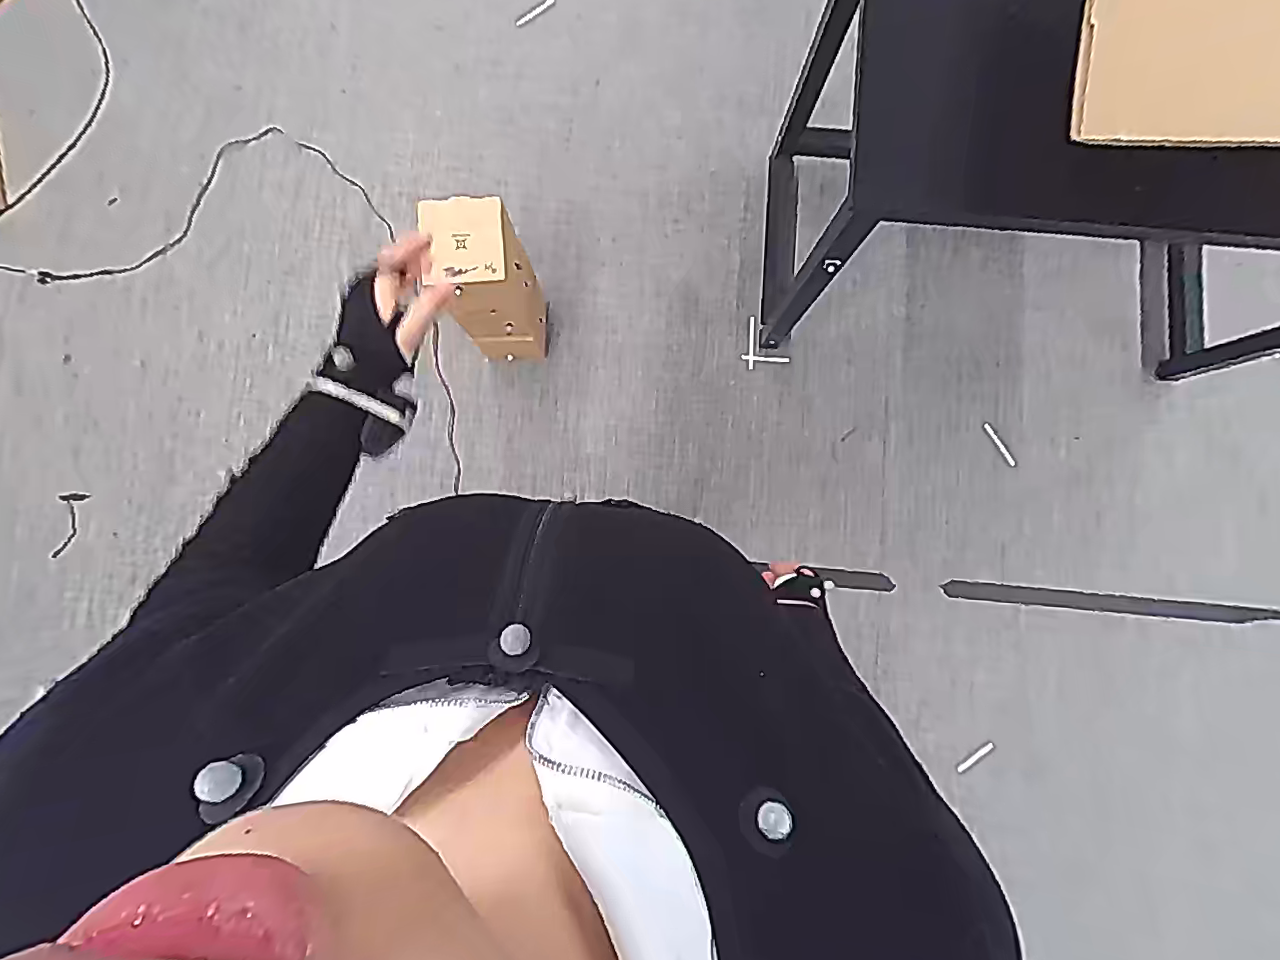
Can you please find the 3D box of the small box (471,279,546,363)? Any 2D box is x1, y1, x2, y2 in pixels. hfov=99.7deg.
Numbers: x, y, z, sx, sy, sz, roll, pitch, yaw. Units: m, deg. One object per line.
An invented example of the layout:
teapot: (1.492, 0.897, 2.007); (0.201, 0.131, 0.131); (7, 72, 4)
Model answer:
small box: (-0.351, -0.431, 1.469); (0.168, 0.176, 0.179); (1, 86, 0)

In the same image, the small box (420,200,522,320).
small box: (-0.351, -0.459, 1.144); (0.168, 0.176, 0.179); (-4, 85, -1)

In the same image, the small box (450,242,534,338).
small box: (-0.352, -0.450, 1.308); (0.168, 0.176, 0.179); (-2, 84, -1)
